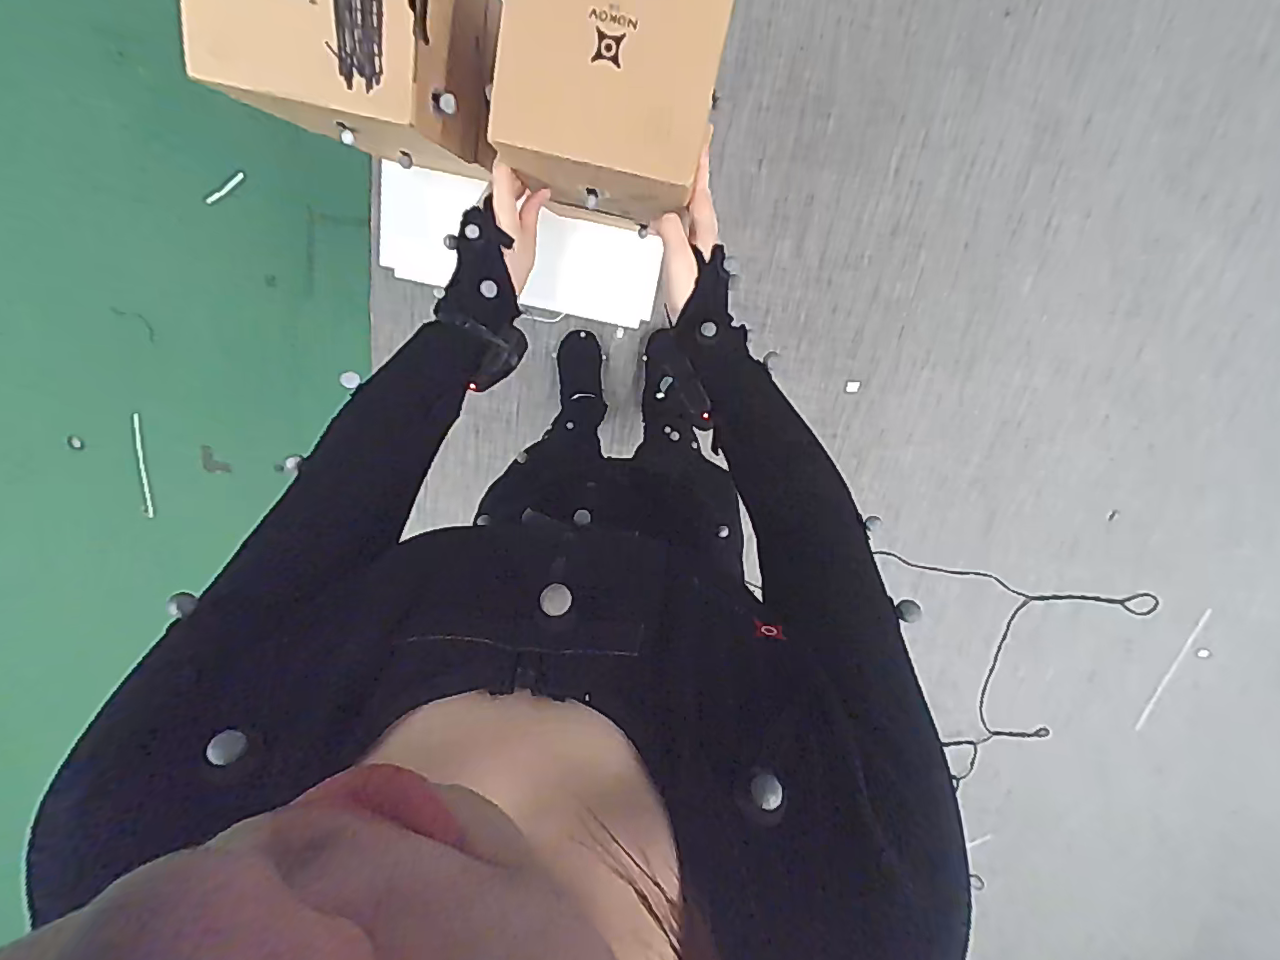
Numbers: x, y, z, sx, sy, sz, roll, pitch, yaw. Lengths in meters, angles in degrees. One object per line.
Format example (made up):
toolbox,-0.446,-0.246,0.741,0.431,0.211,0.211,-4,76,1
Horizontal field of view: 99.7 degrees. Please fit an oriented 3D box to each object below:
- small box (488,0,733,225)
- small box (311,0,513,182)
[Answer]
small box,-0.021,-0.345,0.480,0.168,0.176,0.179,12,105,-3
small box,-0.244,-0.459,0.623,0.179,0.176,0.168,10,111,-4
